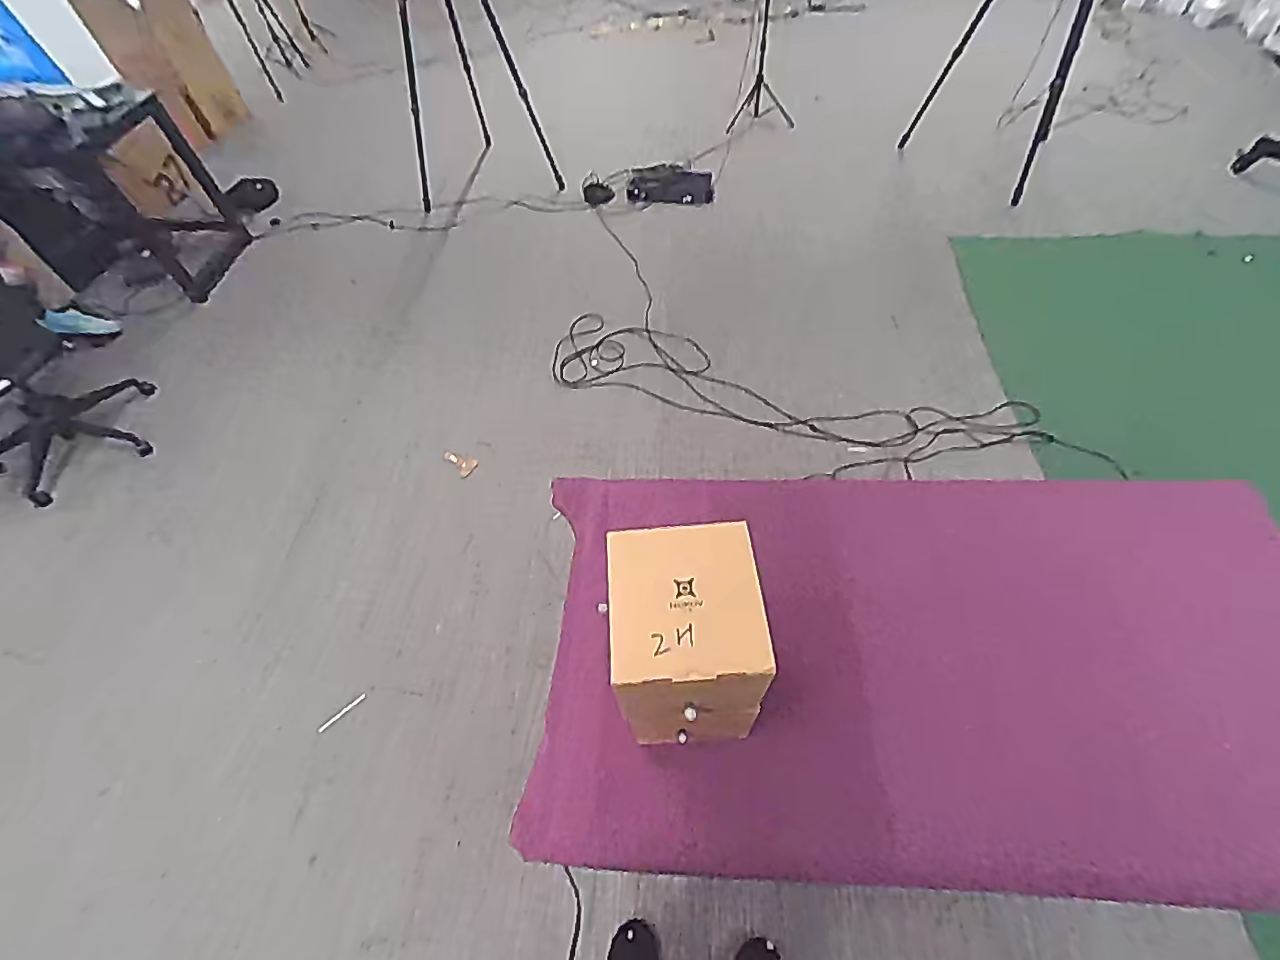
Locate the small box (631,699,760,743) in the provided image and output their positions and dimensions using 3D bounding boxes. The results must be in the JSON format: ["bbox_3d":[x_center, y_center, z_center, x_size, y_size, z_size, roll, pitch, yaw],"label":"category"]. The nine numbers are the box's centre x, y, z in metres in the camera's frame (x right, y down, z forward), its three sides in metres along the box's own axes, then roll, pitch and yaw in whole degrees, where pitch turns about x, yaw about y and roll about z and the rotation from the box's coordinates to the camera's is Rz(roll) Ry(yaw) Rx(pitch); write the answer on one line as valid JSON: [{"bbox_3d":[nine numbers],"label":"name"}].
[{"bbox_3d":[0.067,0.265,0.776,0.168,0.176,0.179,-4,55,1],"label":"small box"}]

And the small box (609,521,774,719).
[{"bbox_3d":[0.051,0.169,0.643,0.168,0.176,0.179,-5,54,1],"label":"small box"}]
